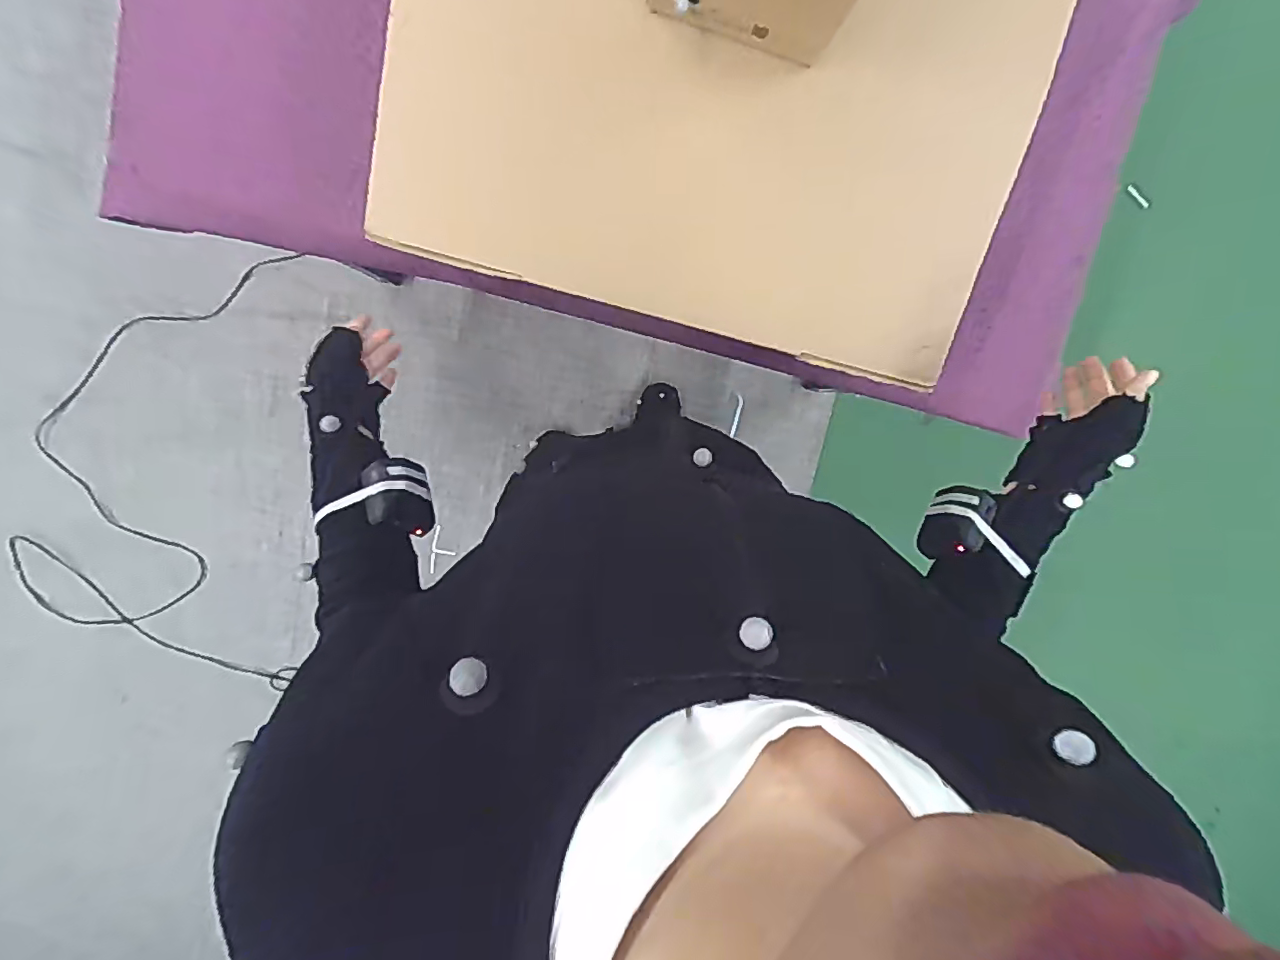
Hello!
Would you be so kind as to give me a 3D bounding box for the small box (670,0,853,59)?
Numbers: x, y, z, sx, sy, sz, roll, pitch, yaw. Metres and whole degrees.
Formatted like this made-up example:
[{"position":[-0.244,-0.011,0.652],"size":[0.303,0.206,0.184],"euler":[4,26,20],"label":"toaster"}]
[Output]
[{"position":[0.113,-0.473,0.406],"size":[0.168,0.176,0.179],"euler":[14,96,-6],"label":"small box"}]
